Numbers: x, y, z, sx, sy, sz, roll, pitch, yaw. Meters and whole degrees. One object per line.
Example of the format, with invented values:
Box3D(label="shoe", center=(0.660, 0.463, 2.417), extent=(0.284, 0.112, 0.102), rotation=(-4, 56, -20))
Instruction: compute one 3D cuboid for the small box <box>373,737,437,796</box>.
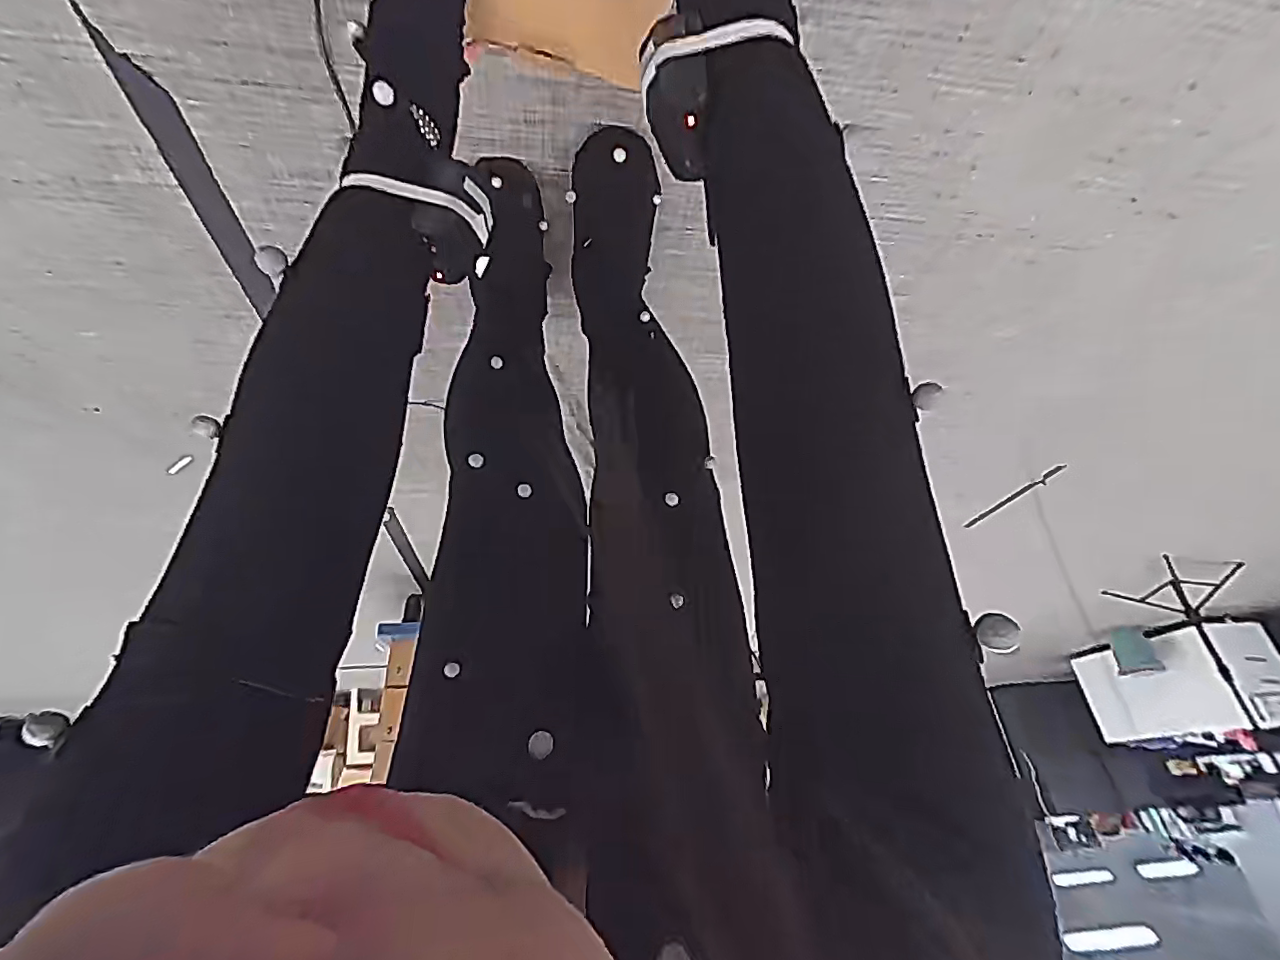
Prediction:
Box3D(label="small box", center=(-0.784, 0.964, 1.823), extent=(0.168, 0.176, 0.179), rotation=(5, 150, -14))

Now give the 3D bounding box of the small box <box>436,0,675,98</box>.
Box3D(label="small box", center=(-0.050, -0.436, 0.387), extent=(0.168, 0.176, 0.179), rotation=(4, 157, -19))

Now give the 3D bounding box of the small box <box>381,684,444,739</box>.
Box3D(label="small box", center=(-0.791, 0.818, 1.901), extent=(0.179, 0.176, 0.168), rotation=(5, 150, -12))
